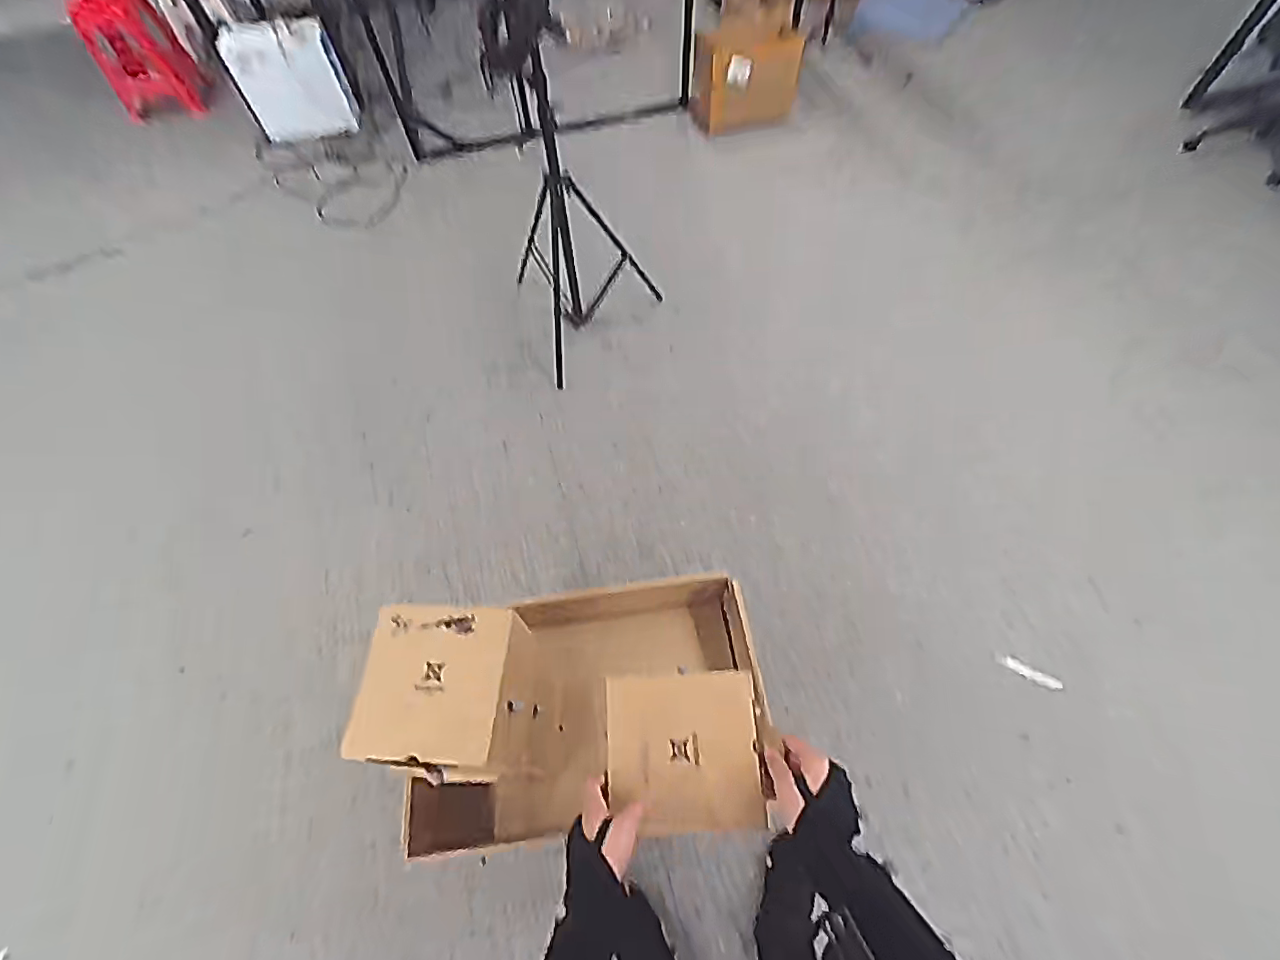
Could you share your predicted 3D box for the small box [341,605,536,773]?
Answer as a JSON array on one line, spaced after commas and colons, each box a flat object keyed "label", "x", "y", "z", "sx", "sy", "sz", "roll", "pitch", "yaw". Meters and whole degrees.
[{"label": "small box", "x": -0.239, "y": 0.273, "z": 0.694, "sx": 0.168, "sy": 0.176, "sz": 0.179, "roll": 2, "pitch": 60, "yaw": 3}]

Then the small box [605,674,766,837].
[{"label": "small box", "x": 0.052, "y": 0.339, "z": 0.686, "sx": 0.179, "sy": 0.176, "sz": 0.168, "roll": -4, "pitch": 66, "yaw": 3}]

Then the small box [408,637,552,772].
[{"label": "small box", "x": -0.236, "y": 0.352, "z": 0.839, "sx": 0.168, "sy": 0.176, "sz": 0.179, "roll": -1, "pitch": 59, "yaw": 1}]
